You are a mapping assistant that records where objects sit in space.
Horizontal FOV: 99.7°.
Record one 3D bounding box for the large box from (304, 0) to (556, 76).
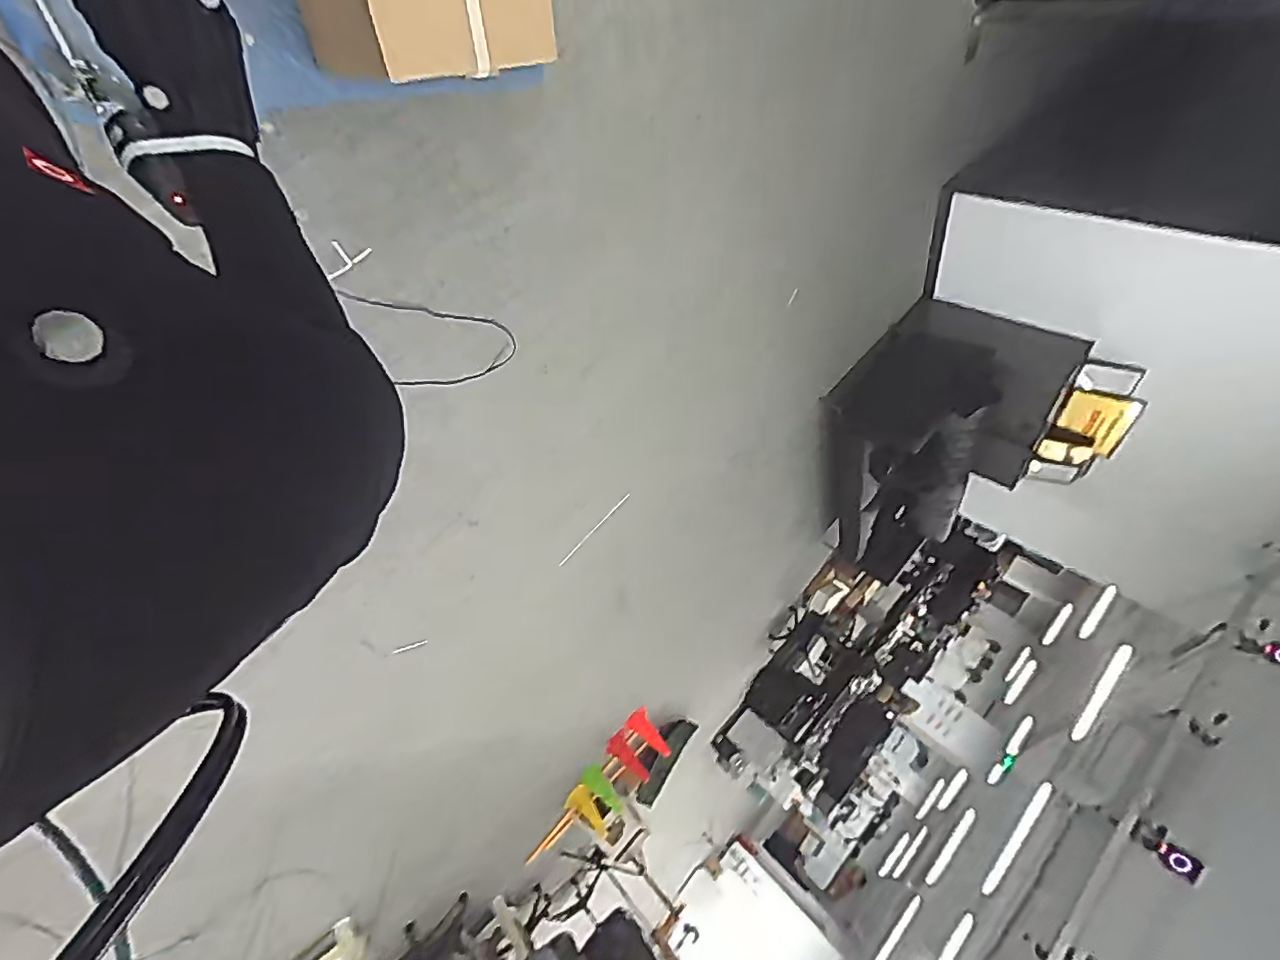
[{"bbox_3d":[-0.373,-0.898,0.836,0.320,0.320,0.408,-34,139,-28],"label":"large box"}]
